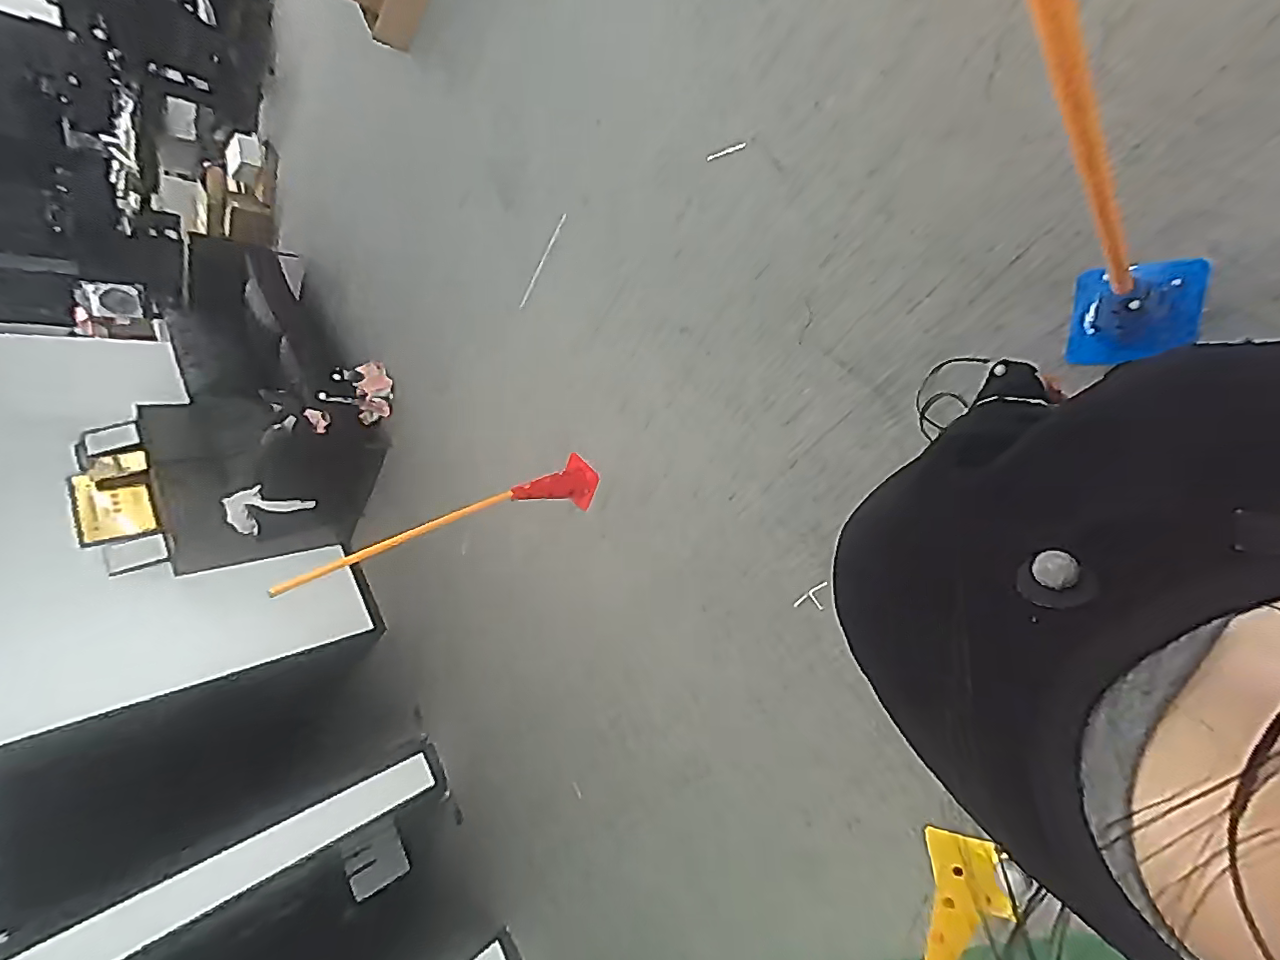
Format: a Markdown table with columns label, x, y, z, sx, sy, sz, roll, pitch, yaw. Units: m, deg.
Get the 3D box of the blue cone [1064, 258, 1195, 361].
| label | x | y | z | sx | sy | sz | roll | pitch | yaw |
| --- | --- | --- | --- | --- | --- | --- | --- | --- | --- |
| blue cone | 0.878 | -0.329 | 0.983 | 0.192 | 0.380 | 0.193 | 8 | 100 | 43 |
